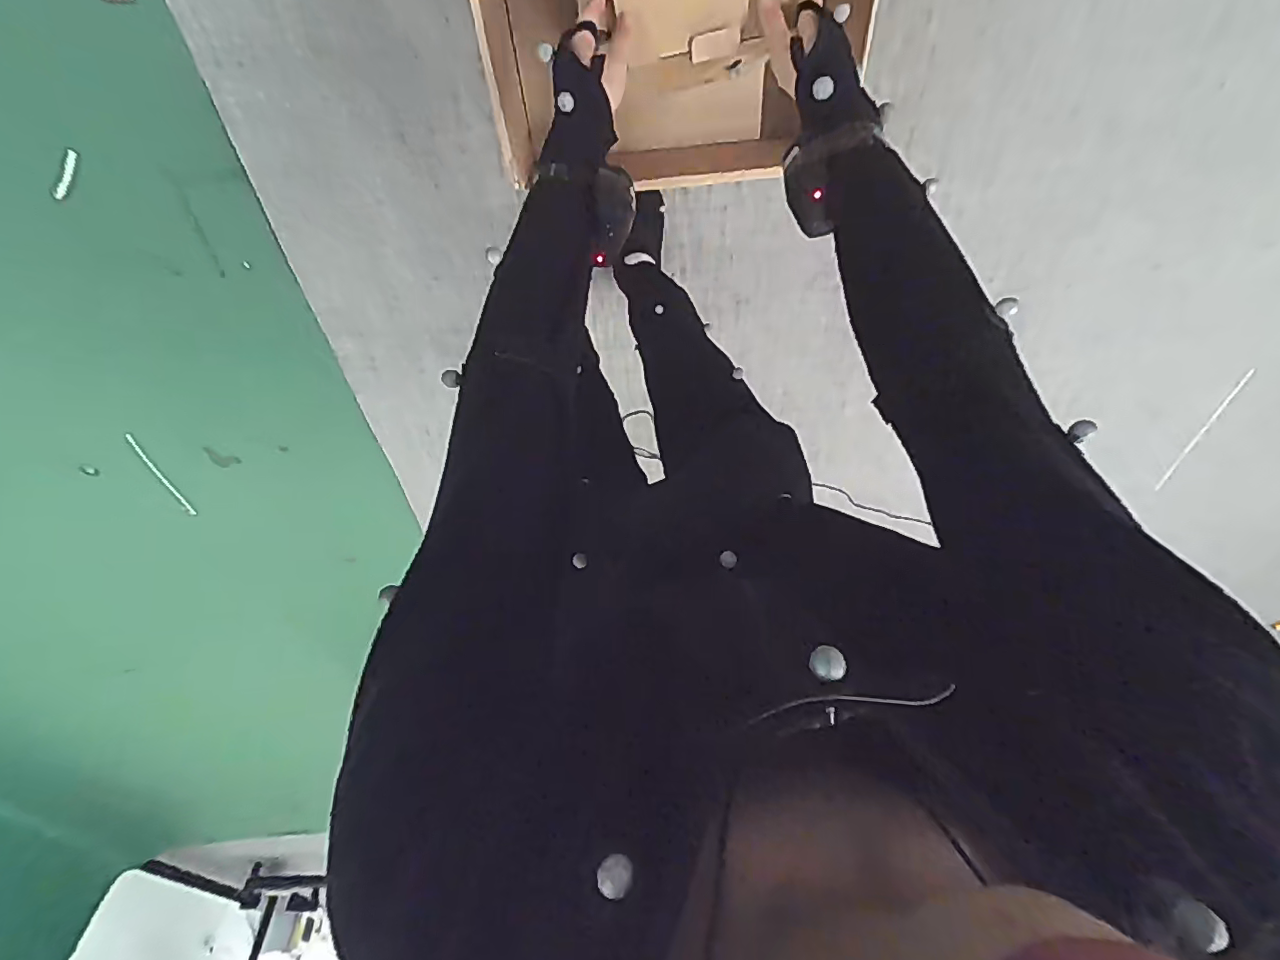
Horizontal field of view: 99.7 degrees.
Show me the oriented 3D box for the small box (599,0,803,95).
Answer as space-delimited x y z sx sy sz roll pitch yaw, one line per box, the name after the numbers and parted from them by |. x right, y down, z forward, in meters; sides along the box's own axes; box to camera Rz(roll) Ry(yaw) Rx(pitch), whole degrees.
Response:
0.045 -0.497 0.521 0.168 0.176 0.179 -12 114 0 | small box
